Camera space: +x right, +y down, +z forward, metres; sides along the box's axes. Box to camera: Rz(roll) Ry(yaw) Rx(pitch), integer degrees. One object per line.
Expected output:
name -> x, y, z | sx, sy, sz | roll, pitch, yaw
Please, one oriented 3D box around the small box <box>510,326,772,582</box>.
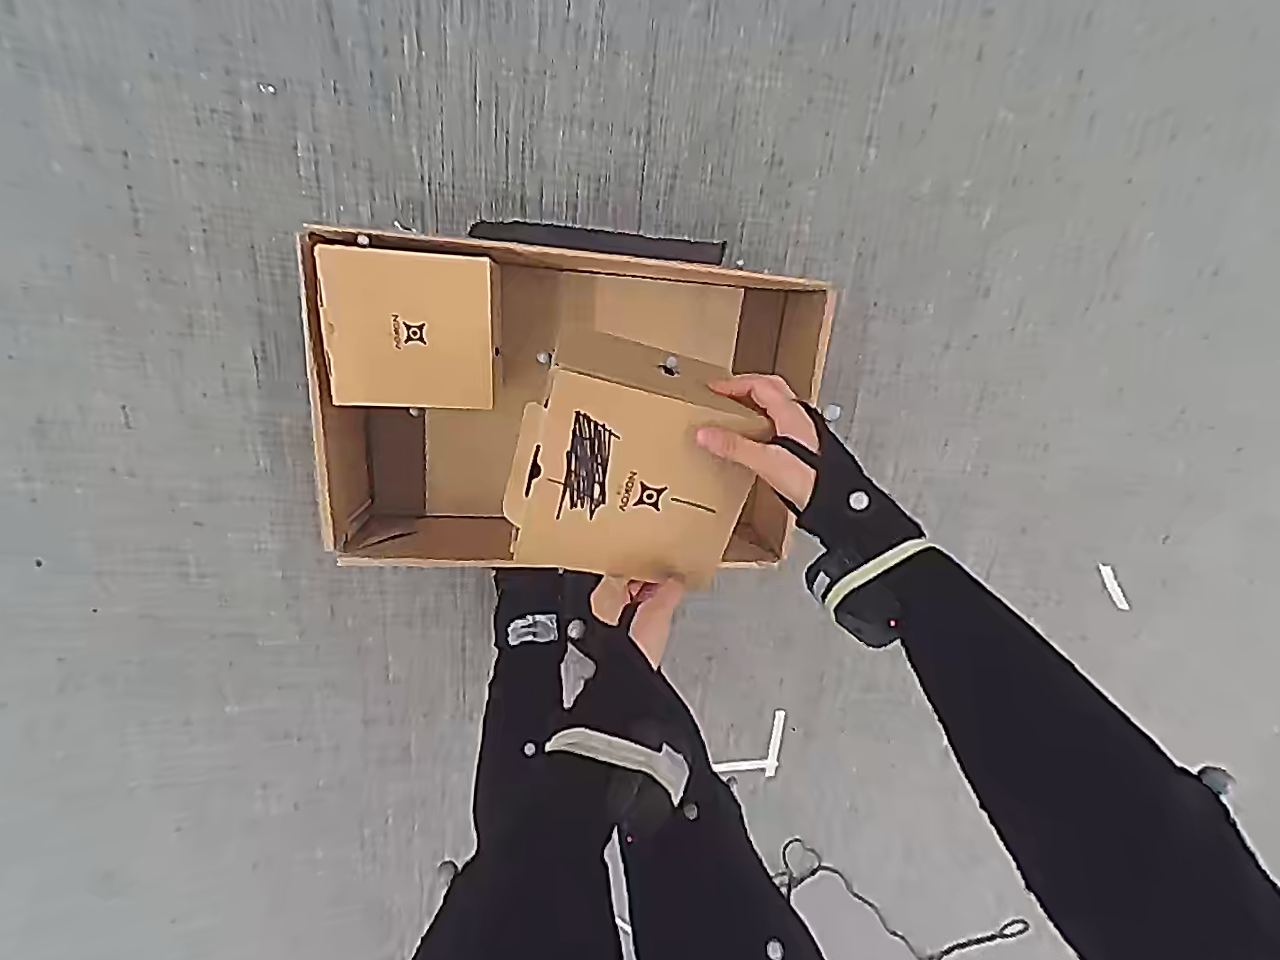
small box -> -0.010, -0.033, 0.501 | 0.179, 0.176, 0.168 | 12, 114, -13
